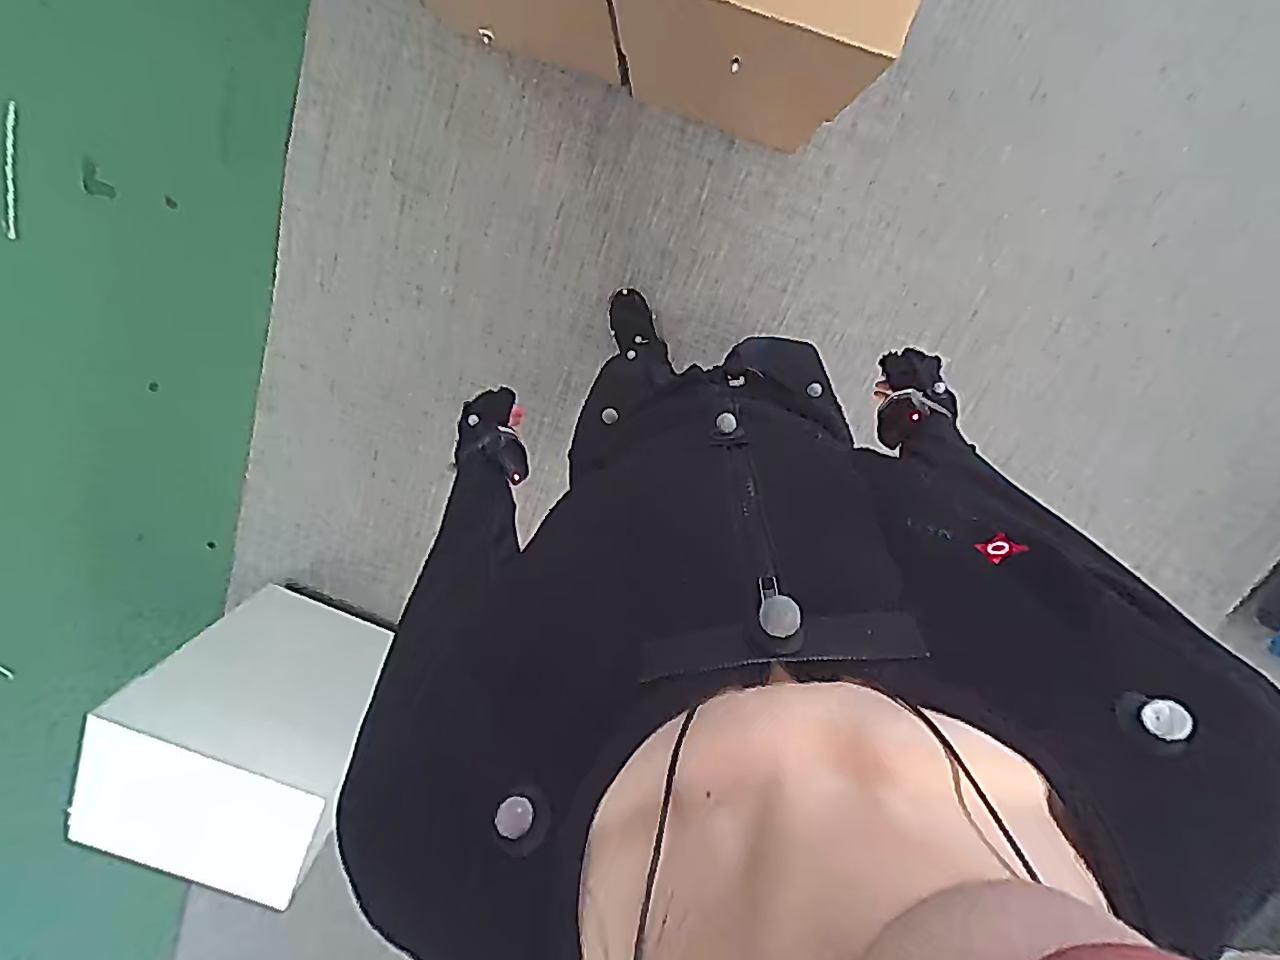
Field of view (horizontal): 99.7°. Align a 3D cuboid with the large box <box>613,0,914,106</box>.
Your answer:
[{"bbox_3d":[0.192,-0.801,0.778,0.408,0.320,0.320,16,110,-2],"label":"large box"}]
